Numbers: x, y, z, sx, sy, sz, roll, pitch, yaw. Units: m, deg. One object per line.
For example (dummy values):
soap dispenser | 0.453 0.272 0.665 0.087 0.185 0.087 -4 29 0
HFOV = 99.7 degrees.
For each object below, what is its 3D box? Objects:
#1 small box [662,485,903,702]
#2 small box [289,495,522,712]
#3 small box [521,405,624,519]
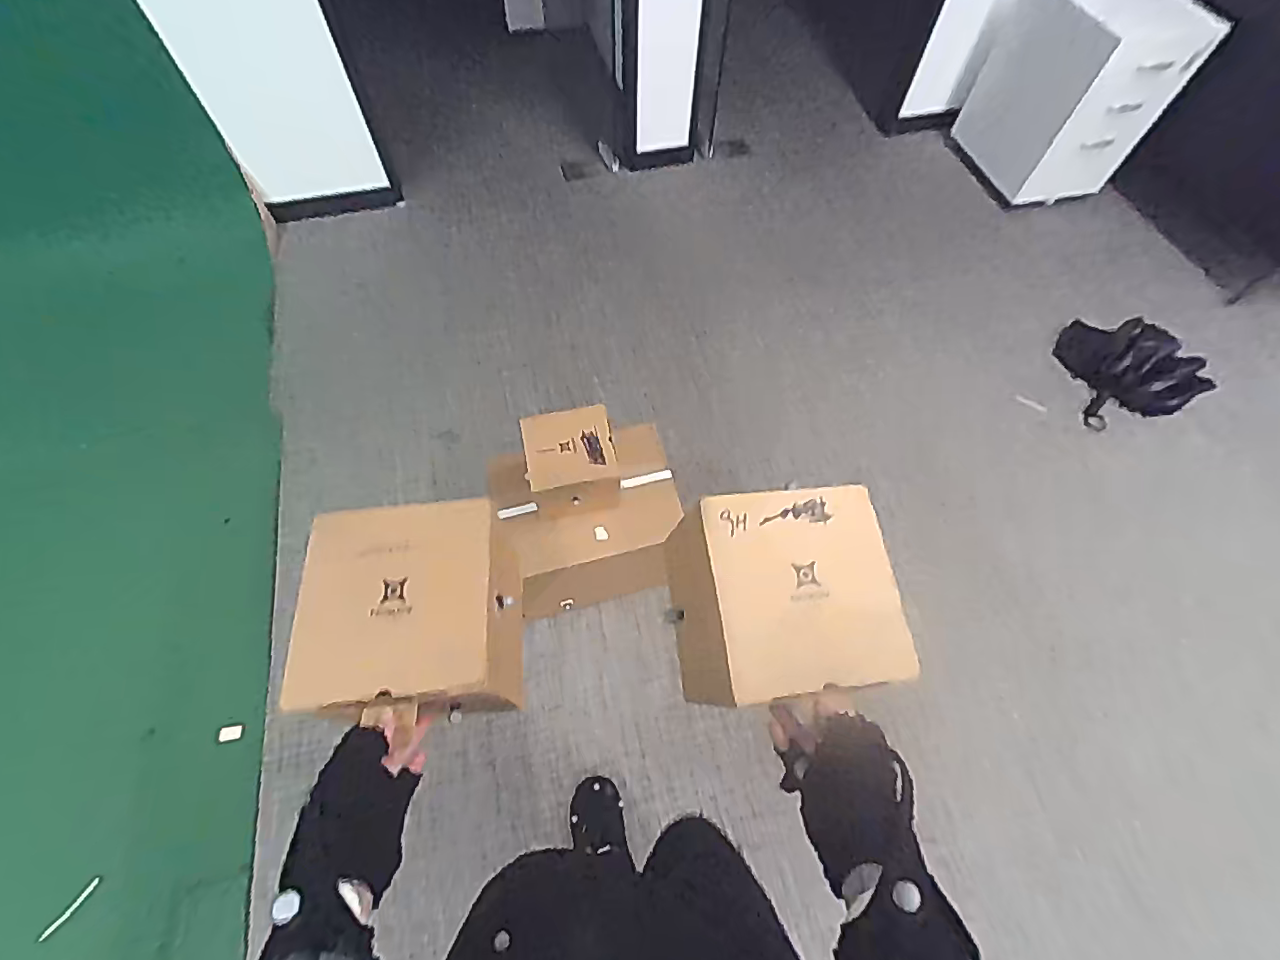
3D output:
small box | 0.125 0.116 0.547 0.168 0.176 0.179 -4 72 -11
small box | -0.218 0.135 0.557 0.168 0.176 0.179 -6 61 -4
small box | -0.141 -0.033 1.142 0.179 0.176 0.168 -14 69 -9
